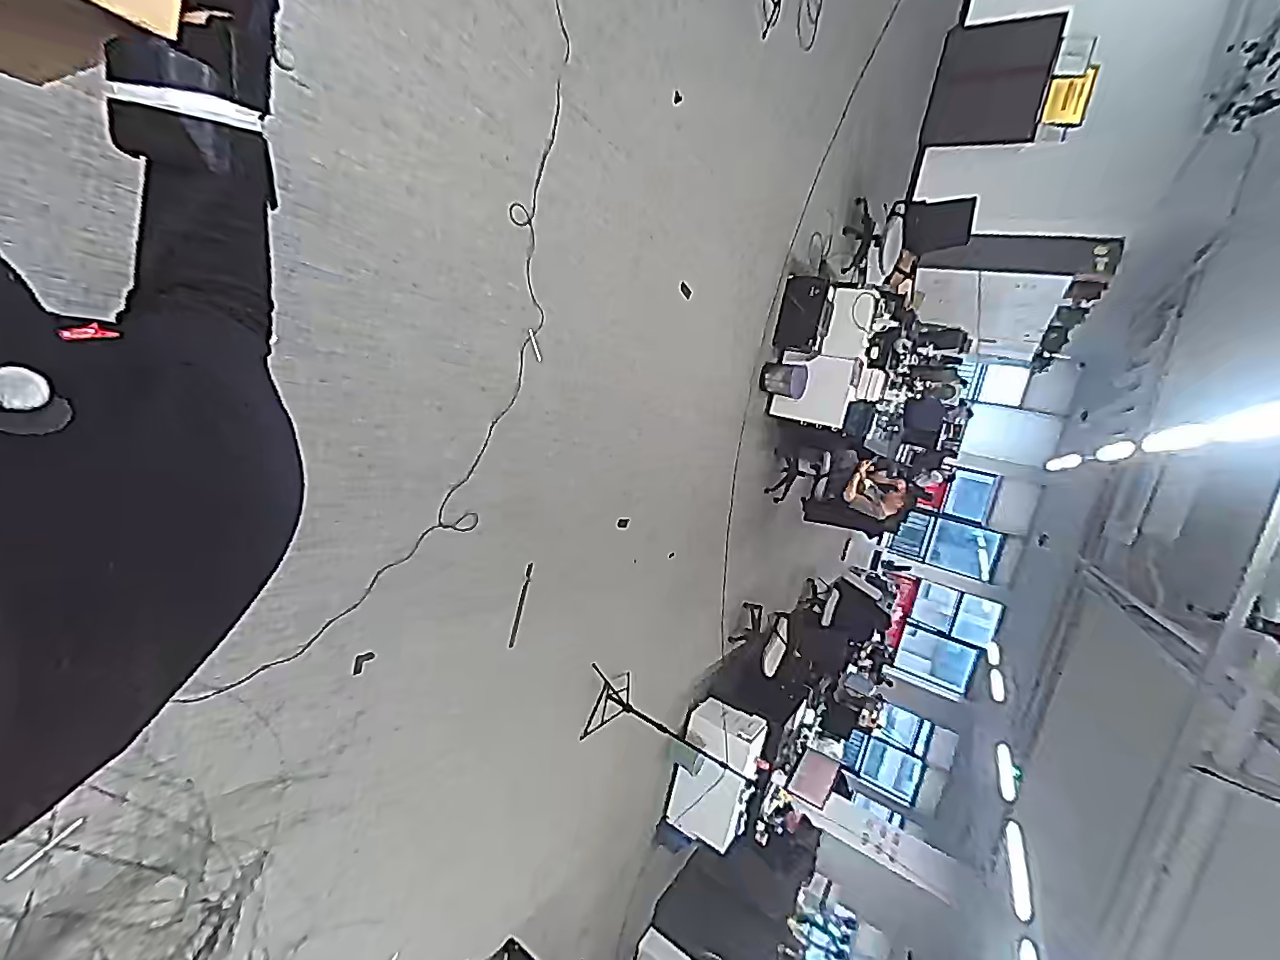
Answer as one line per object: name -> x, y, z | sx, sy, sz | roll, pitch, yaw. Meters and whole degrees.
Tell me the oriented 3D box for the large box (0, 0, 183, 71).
large box -> -0.480, -0.451, 0.210 | 0.408, 0.320, 0.320 | -4, 111, -59
